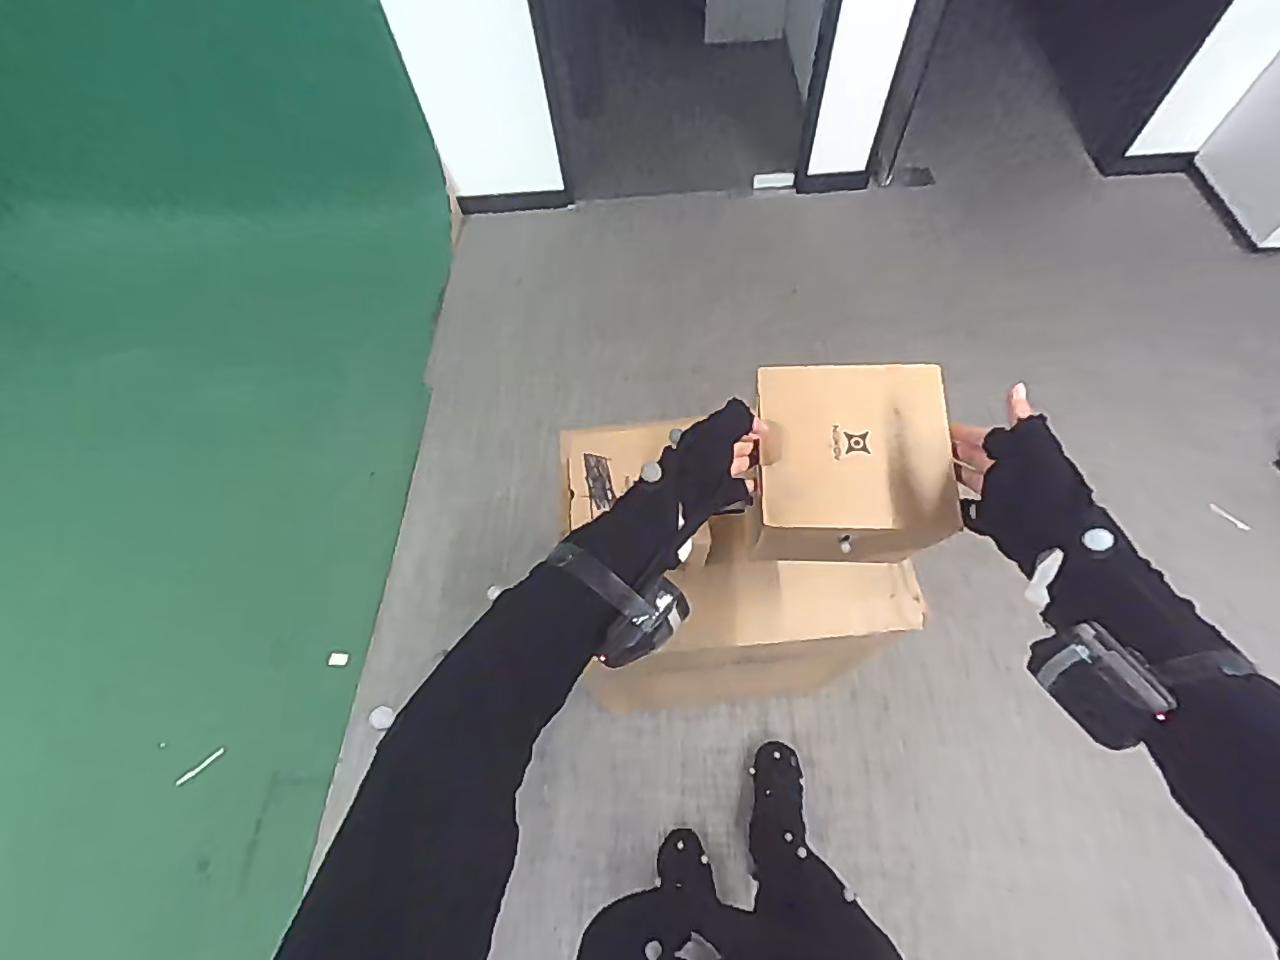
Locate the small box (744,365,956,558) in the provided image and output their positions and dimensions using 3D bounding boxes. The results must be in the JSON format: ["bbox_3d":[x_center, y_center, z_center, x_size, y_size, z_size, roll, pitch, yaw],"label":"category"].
[{"bbox_3d":[0.206,-0.010,0.590,0.179,0.176,0.168,0,72,5],"label":"small box"}]

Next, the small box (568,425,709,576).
[{"bbox_3d":[0.000,0.037,0.770,0.179,0.176,0.168,-5,70,1],"label":"small box"}]
